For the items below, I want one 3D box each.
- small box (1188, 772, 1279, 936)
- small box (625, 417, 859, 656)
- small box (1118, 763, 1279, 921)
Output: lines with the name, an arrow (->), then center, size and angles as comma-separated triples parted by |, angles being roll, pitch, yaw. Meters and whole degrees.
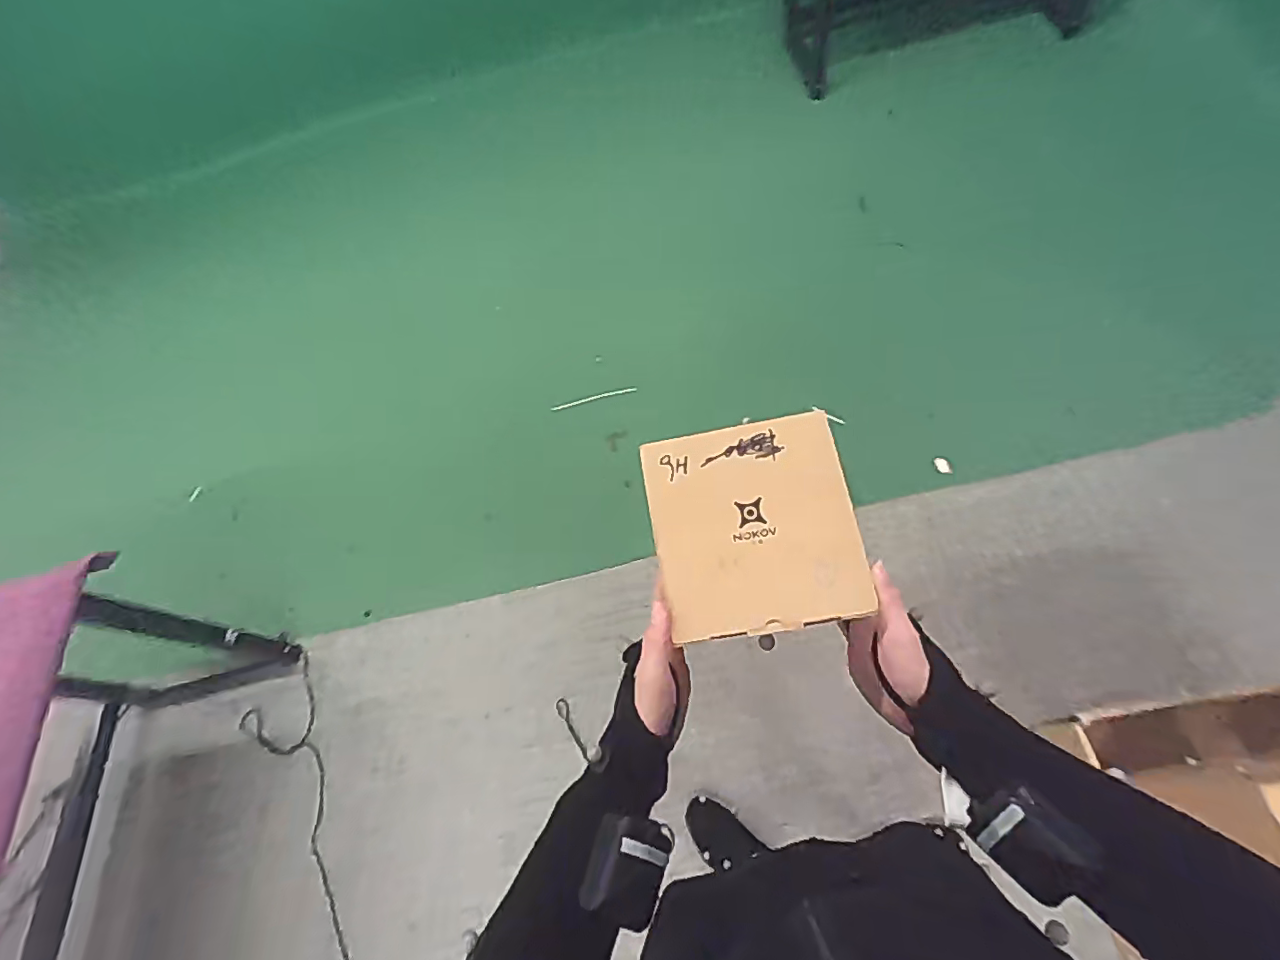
small box -> 0.822, 0.445, 0.641 | 0.179, 0.176, 0.168 | -9, 62, 6
small box -> 0.090, 0.062, 0.525 | 0.168, 0.176, 0.179 | -12, 74, 5
small box -> 0.854, 0.514, 0.784 | 0.179, 0.176, 0.168 | -10, 62, 5
